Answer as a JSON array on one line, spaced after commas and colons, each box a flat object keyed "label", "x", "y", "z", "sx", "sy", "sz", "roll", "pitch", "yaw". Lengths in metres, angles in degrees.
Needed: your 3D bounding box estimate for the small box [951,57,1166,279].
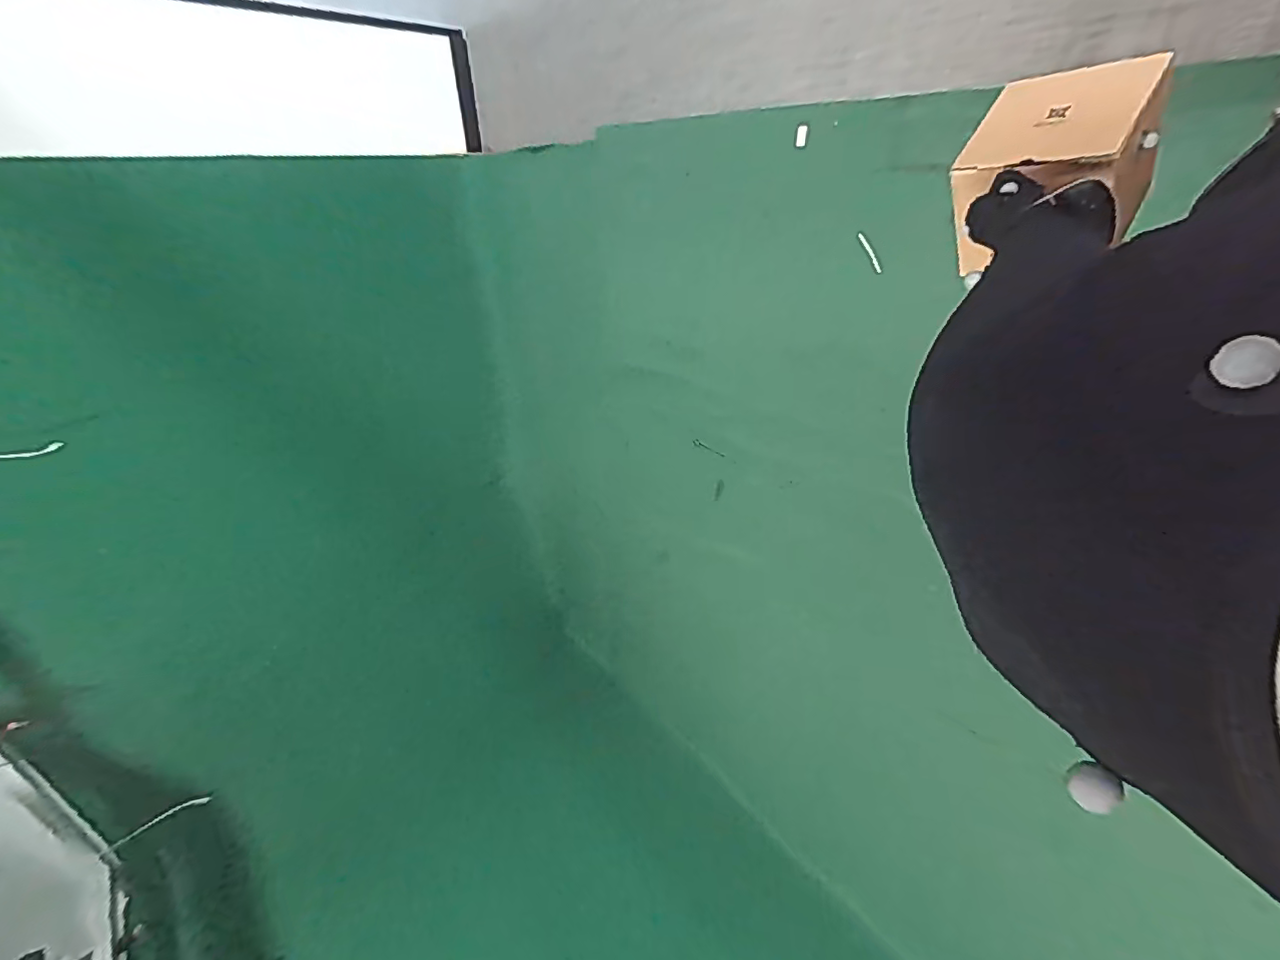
[{"label": "small box", "x": 0.531, "y": -0.390, "z": 0.703, "sx": 0.168, "sy": 0.179, "sz": 0.176, "roll": 23, "pitch": 164, "yaw": 44}]
